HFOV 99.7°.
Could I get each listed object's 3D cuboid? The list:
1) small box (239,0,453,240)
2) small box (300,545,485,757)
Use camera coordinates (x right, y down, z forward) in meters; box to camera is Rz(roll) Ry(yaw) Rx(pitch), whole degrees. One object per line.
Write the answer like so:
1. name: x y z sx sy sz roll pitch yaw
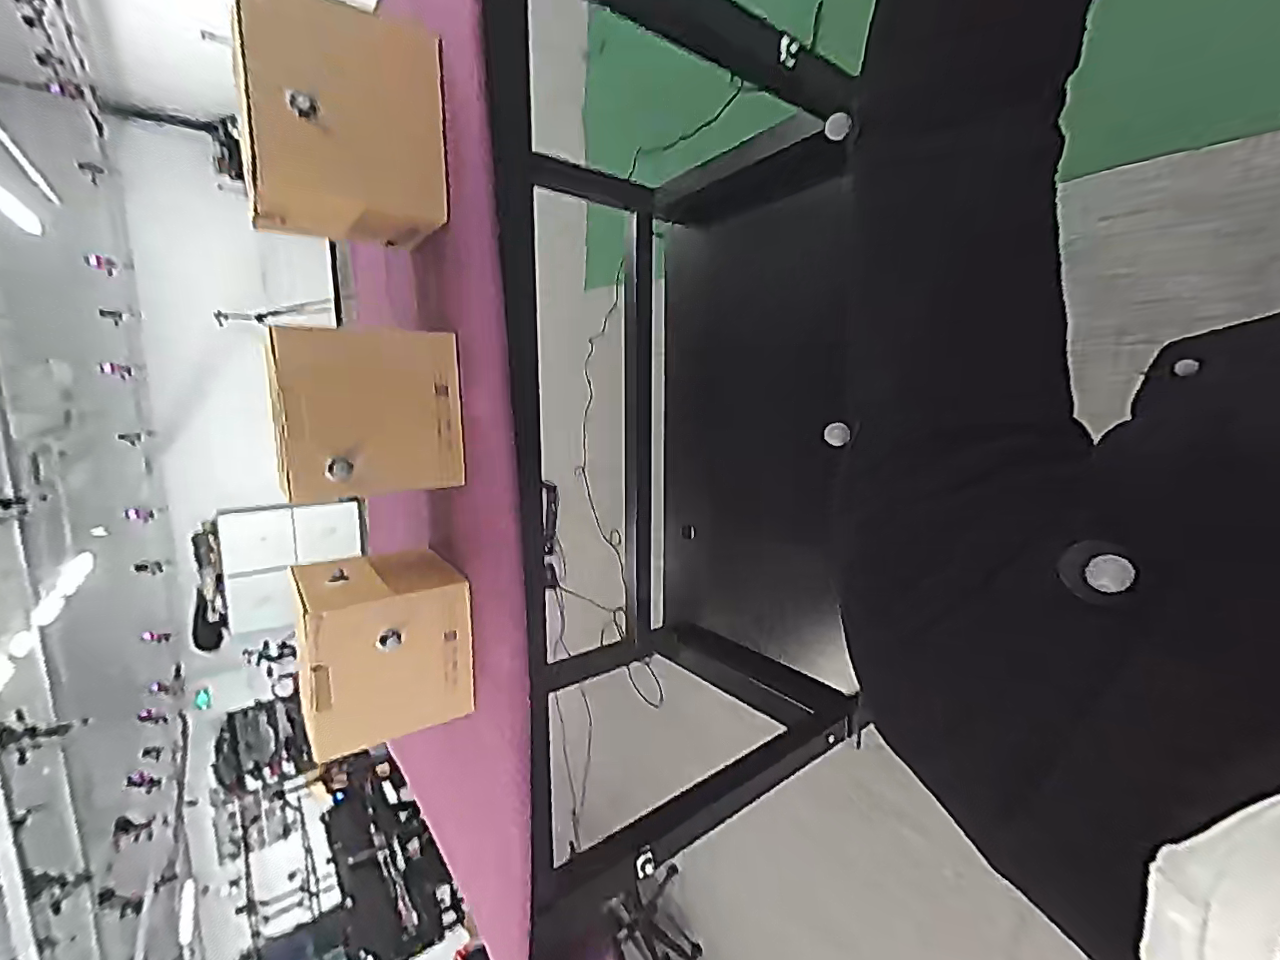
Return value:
1. small box: -0.304 -0.361 0.565 0.168 0.176 0.179 12 105 52
2. small box: -0.294 0.184 0.650 0.179 0.176 0.168 14 106 52
